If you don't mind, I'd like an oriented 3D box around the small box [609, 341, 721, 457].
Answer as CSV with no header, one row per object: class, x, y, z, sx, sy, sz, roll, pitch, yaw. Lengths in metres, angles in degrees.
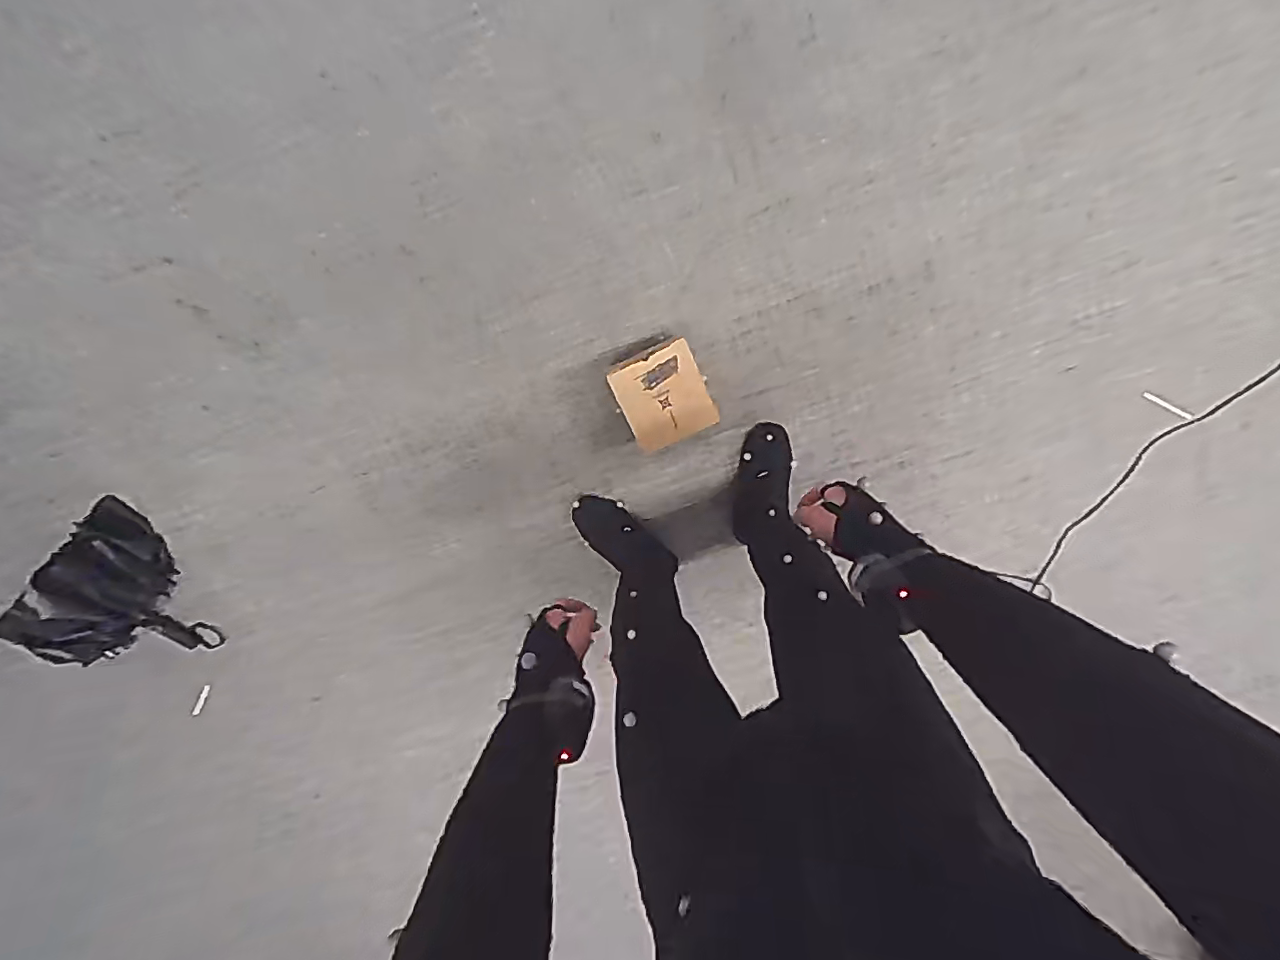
small box,0.045,-0.172,1.105,0.168,0.176,0.179,-25,106,6
